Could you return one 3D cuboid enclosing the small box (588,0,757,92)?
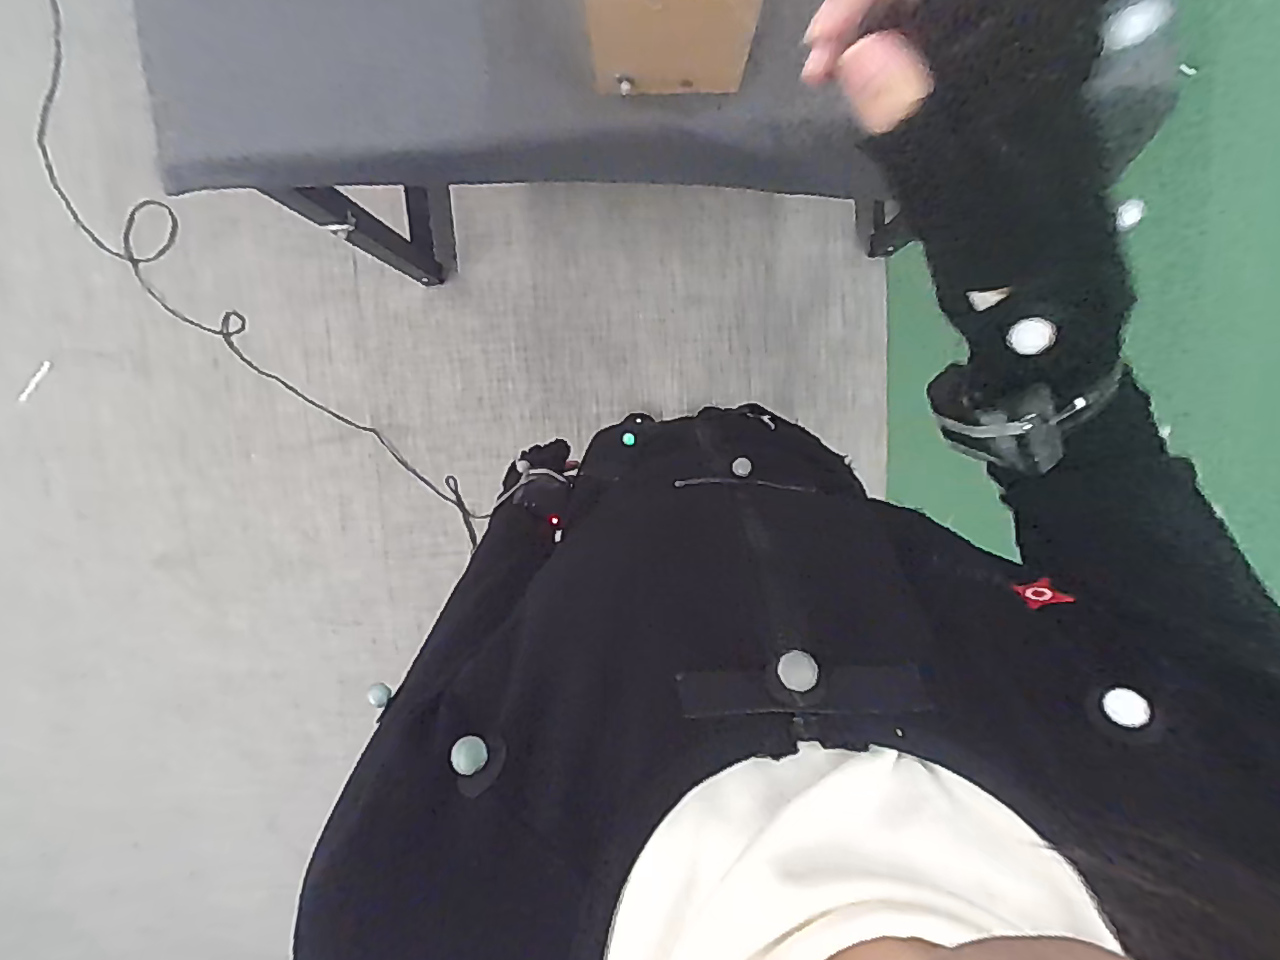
[{"bbox_3d":[0.035,-0.539,0.560,0.168,0.176,0.179,0,95,0],"label":"small box"}]
